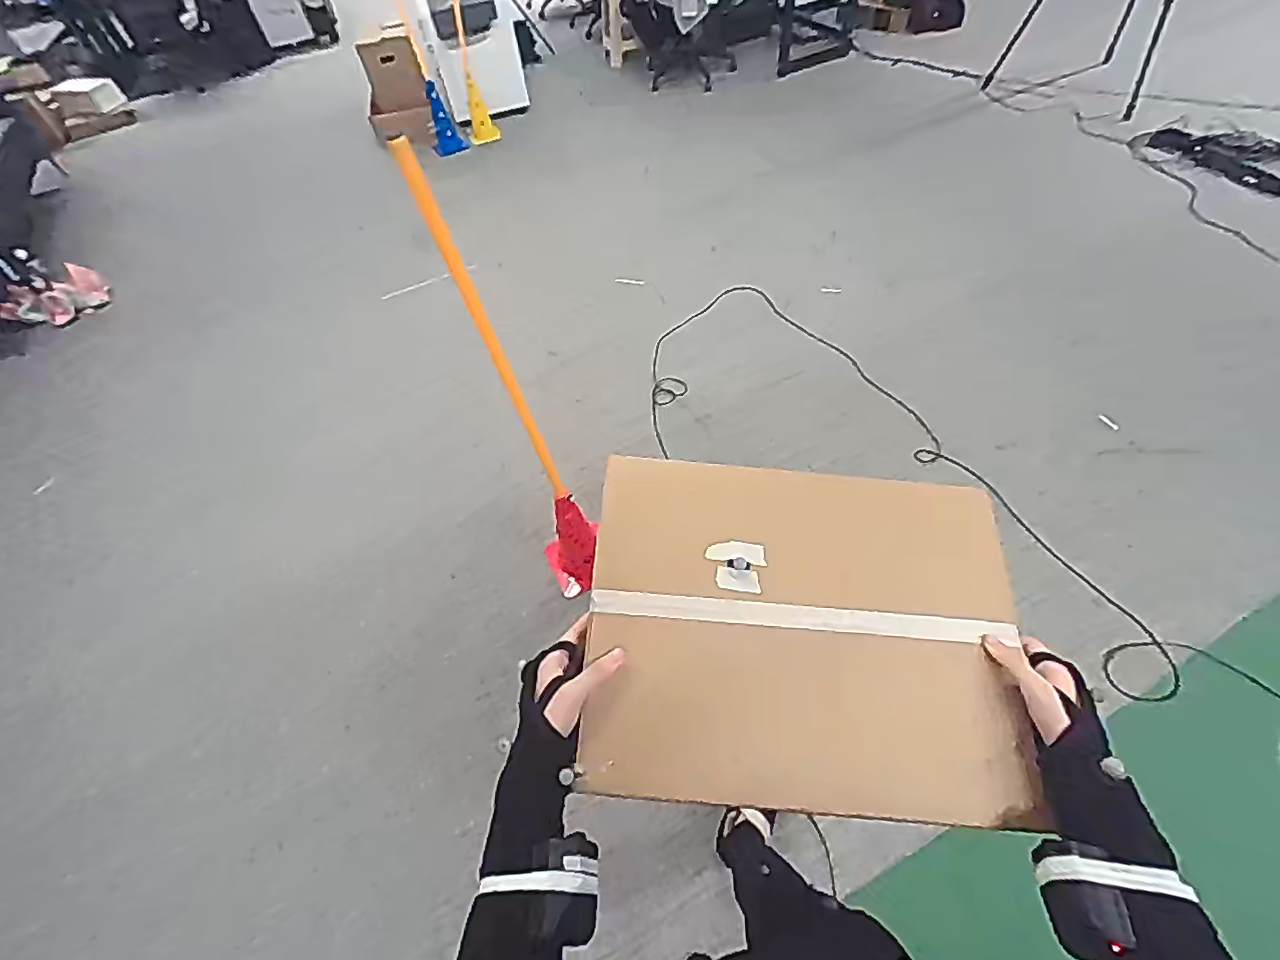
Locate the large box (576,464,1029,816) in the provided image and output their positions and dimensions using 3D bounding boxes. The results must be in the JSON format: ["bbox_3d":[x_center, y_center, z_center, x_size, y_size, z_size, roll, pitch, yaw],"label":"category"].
[{"bbox_3d":[0.150,0.194,0.663,0.408,0.320,0.320,5,66,0],"label":"large box"}]
